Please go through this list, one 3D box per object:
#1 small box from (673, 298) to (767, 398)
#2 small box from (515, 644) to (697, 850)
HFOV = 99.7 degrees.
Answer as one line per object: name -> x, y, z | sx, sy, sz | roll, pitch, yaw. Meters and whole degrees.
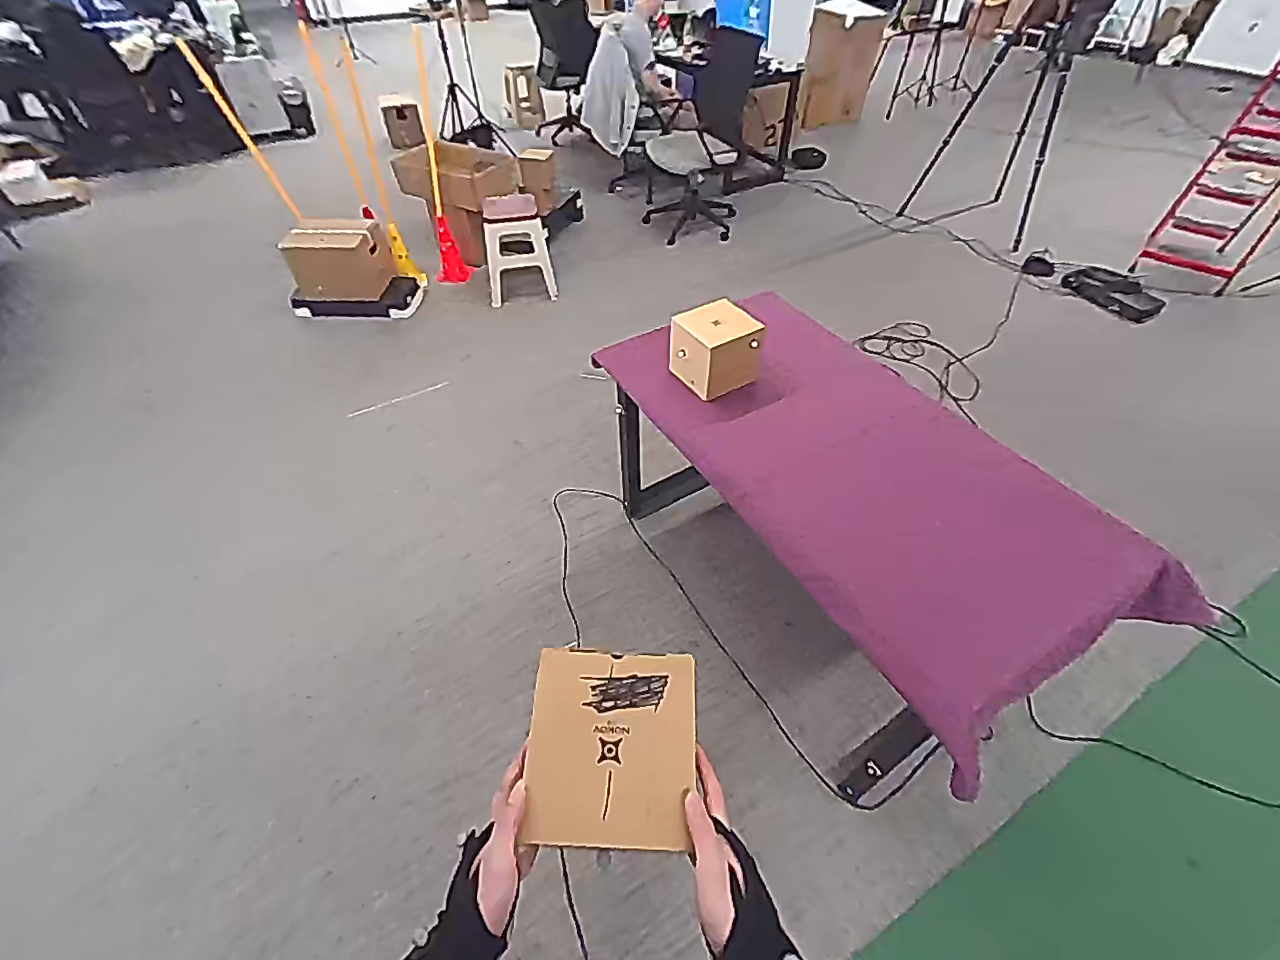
small box -> 0.201, -0.340, 1.404 | 0.179, 0.176, 0.168 | -25, 52, -21
small box -> -0.027, 0.294, 0.592 | 0.168, 0.176, 0.179 | 2, 57, 2
